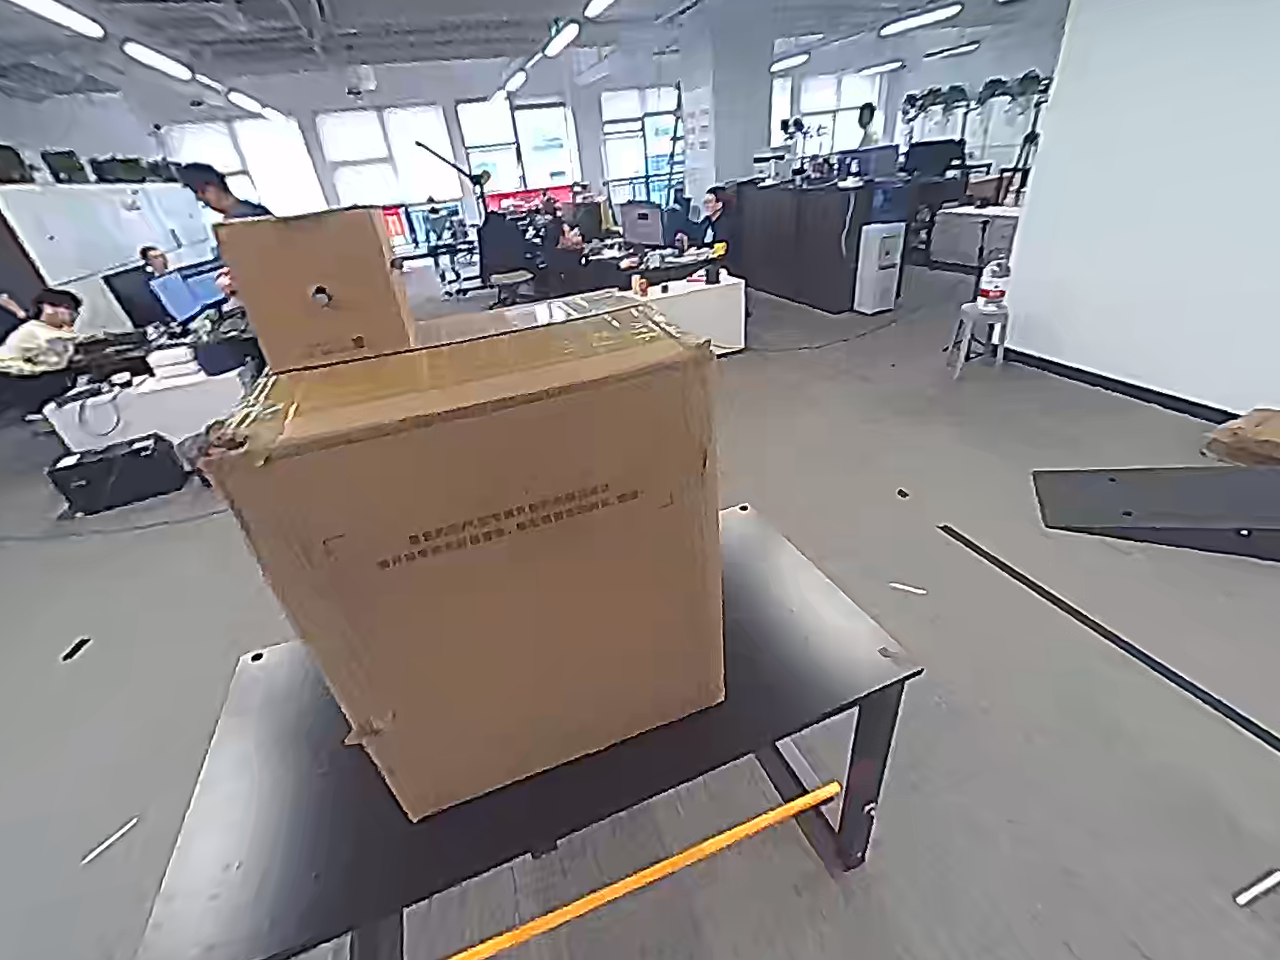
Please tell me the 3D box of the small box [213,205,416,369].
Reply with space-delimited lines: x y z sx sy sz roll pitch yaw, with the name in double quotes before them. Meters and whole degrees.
"small box" -0.398 -0.251 0.701 0.168 0.176 0.179 -14 30 -15
